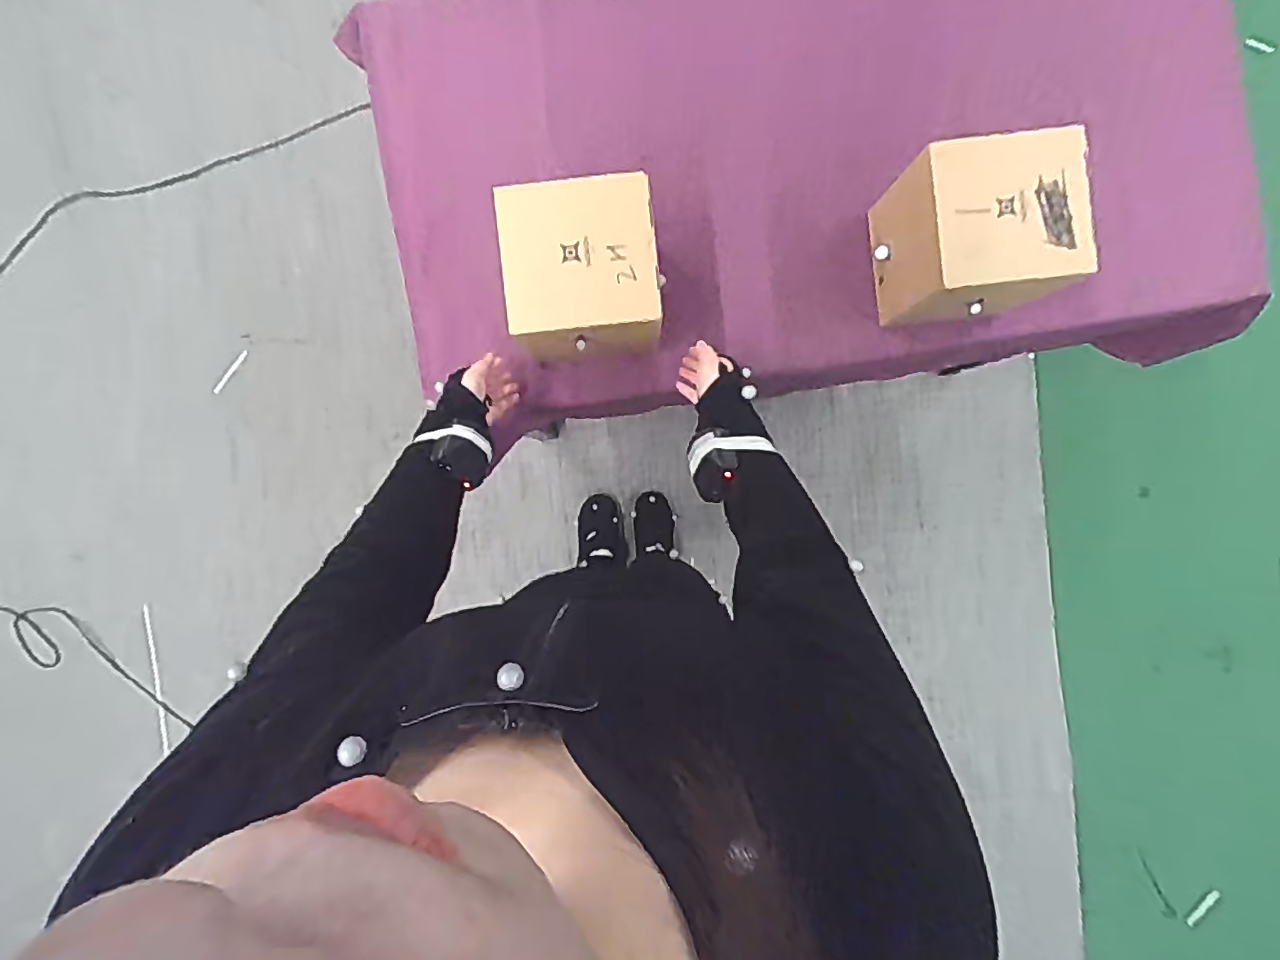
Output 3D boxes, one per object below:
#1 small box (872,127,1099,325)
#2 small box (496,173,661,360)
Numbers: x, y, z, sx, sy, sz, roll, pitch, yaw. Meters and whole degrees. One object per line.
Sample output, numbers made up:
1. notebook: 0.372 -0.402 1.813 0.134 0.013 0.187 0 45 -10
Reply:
1. small box: 0.417 -0.303 0.677 0.179 0.176 0.168 -6 91 1
2. small box: -0.067 -0.253 0.680 0.179 0.176 0.168 -5 92 0
